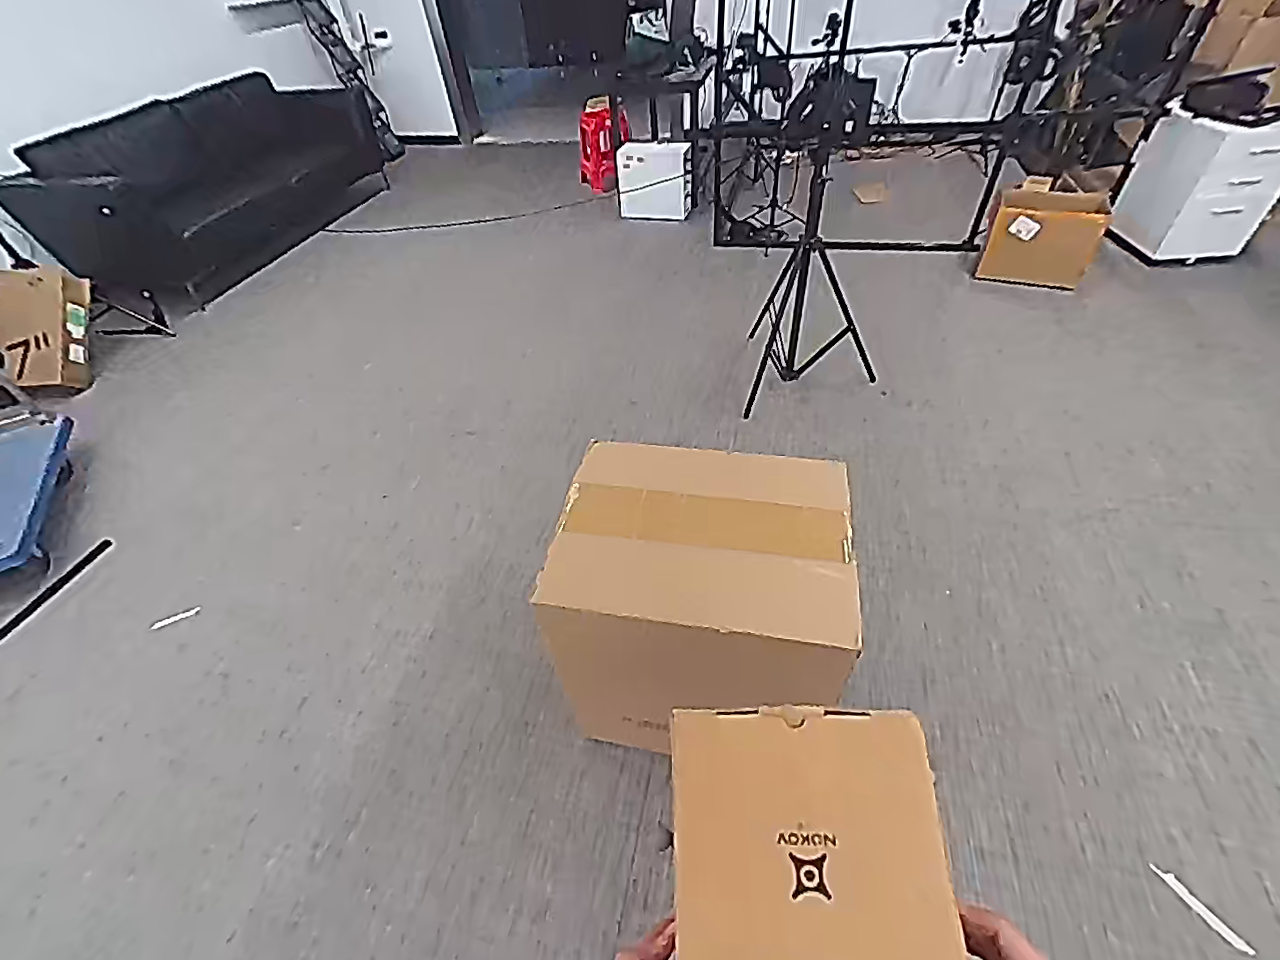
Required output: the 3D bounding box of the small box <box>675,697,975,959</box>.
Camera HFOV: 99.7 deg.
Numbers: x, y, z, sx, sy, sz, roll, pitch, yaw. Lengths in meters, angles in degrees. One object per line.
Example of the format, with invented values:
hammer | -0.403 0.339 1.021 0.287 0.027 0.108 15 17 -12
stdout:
small box | 0.113 0.261 0.397 0.168 0.176 0.179 -2 62 5
